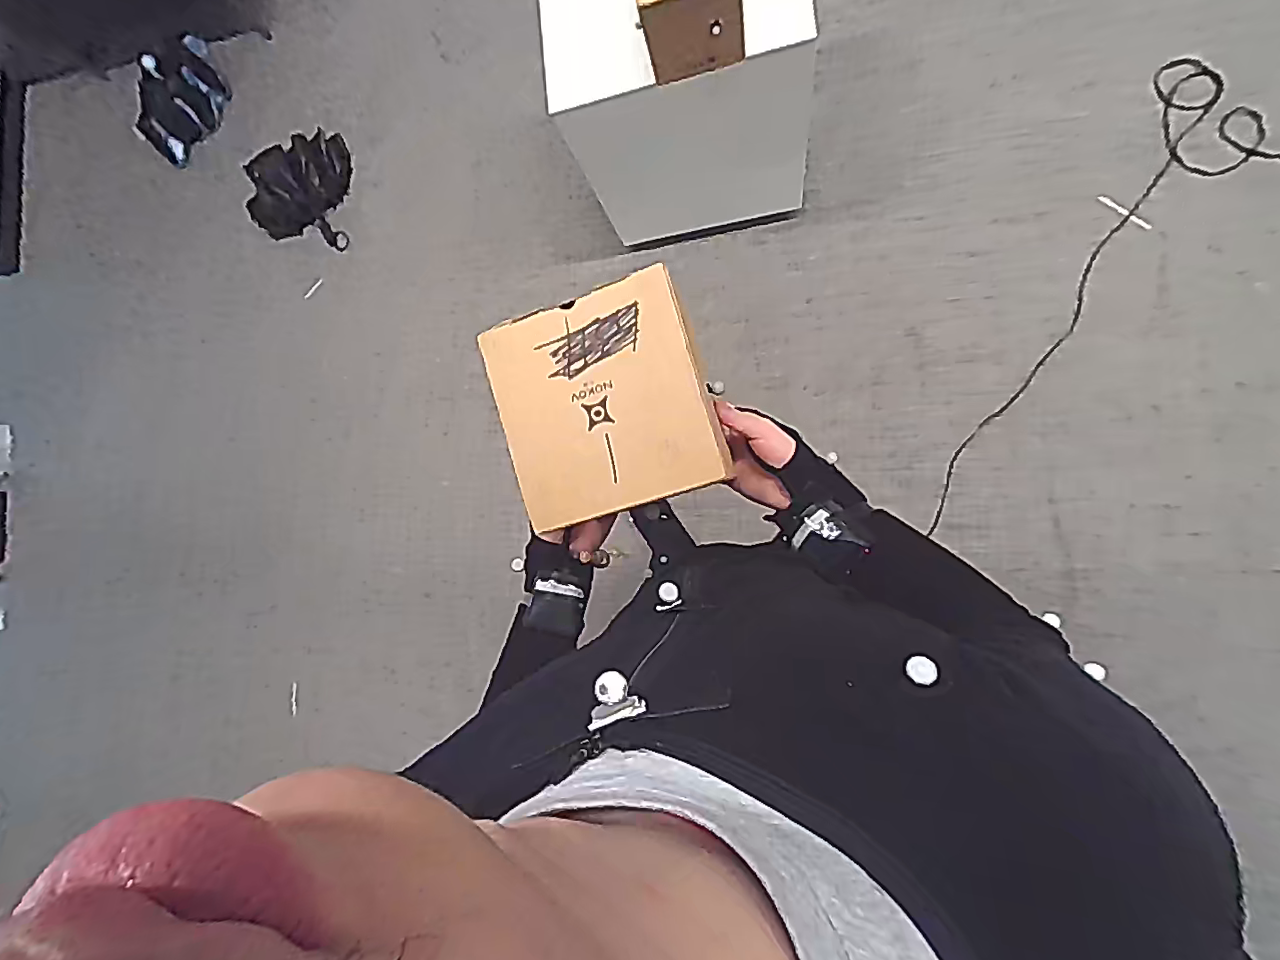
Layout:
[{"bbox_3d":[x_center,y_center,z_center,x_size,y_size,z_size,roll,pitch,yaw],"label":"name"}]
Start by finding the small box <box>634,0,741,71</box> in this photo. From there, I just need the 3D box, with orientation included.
[{"bbox_3d":[0.079,-0.842,0.919,0.168,0.176,0.179,-7,84,12],"label":"small box"}]

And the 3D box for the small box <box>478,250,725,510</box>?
[{"bbox_3d":[-0.022,-0.077,0.510,0.168,0.176,0.179,-15,87,12],"label":"small box"}]
